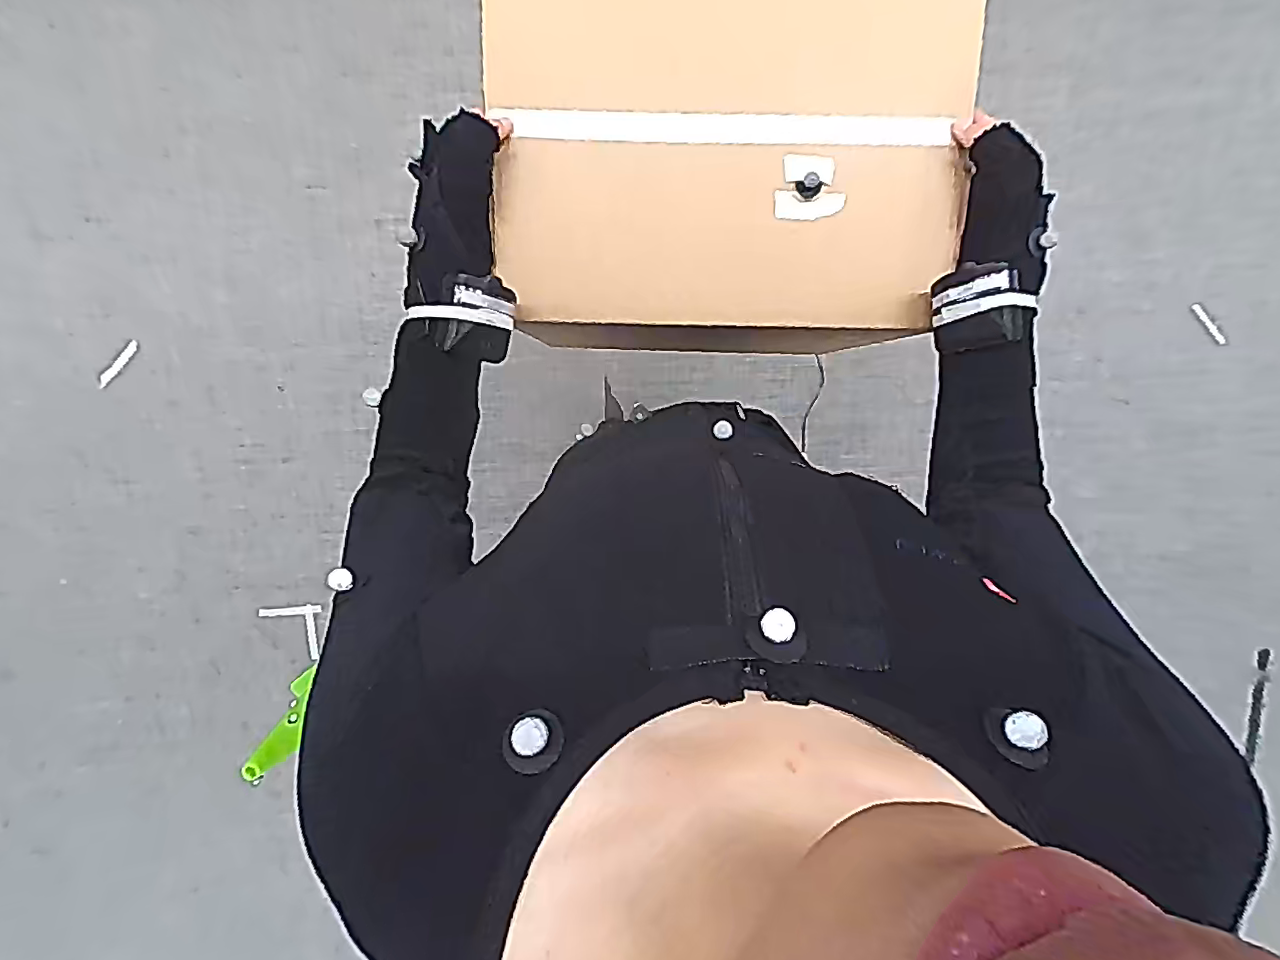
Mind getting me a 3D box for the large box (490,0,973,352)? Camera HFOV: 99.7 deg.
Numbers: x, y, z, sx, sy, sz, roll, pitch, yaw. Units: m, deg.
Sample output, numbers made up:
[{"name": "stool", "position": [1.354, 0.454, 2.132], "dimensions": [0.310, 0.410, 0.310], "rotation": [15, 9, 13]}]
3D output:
[{"name": "large box", "position": [0.071, -0.315, 0.604], "dimensions": [0.408, 0.320, 0.320], "rotation": [1, 99, -2]}]
